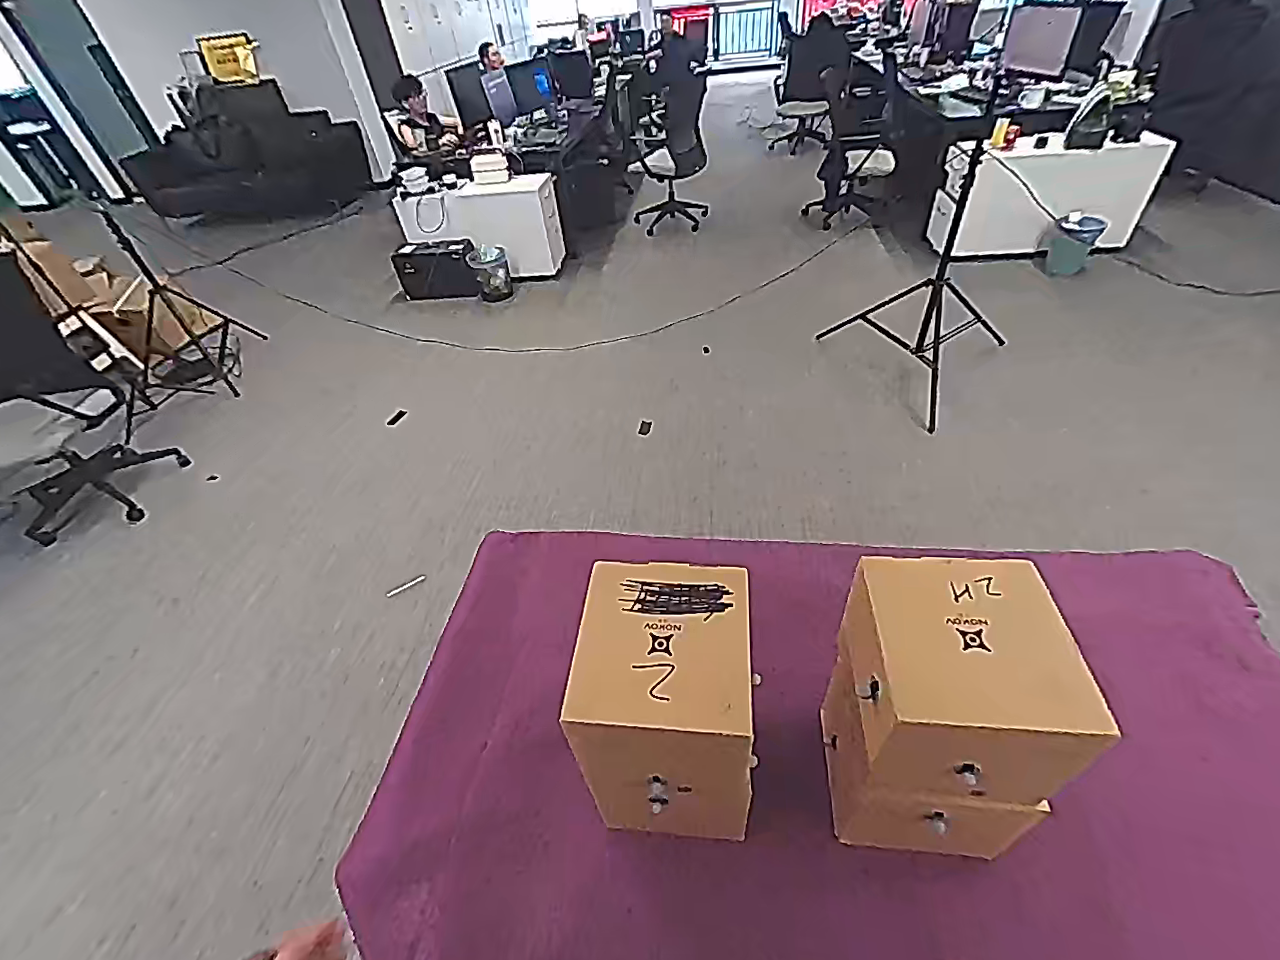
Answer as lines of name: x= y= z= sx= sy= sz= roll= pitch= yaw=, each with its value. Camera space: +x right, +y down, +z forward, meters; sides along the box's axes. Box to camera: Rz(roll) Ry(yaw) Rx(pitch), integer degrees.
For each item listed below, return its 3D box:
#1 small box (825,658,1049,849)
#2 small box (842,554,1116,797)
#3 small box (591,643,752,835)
small box: x=0.332 y=0.323 z=0.649 sx=0.179 sy=0.176 sz=0.168 roll=0 pitch=43 yaw=9
small box: x=0.310 y=0.196 z=0.545 sx=0.168 sy=0.176 sz=0.179 roll=1 pitch=43 yaw=9
small box: x=0.048 y=0.326 z=0.683 sx=0.179 sy=0.176 sz=0.168 roll=1 pitch=43 yaw=8
